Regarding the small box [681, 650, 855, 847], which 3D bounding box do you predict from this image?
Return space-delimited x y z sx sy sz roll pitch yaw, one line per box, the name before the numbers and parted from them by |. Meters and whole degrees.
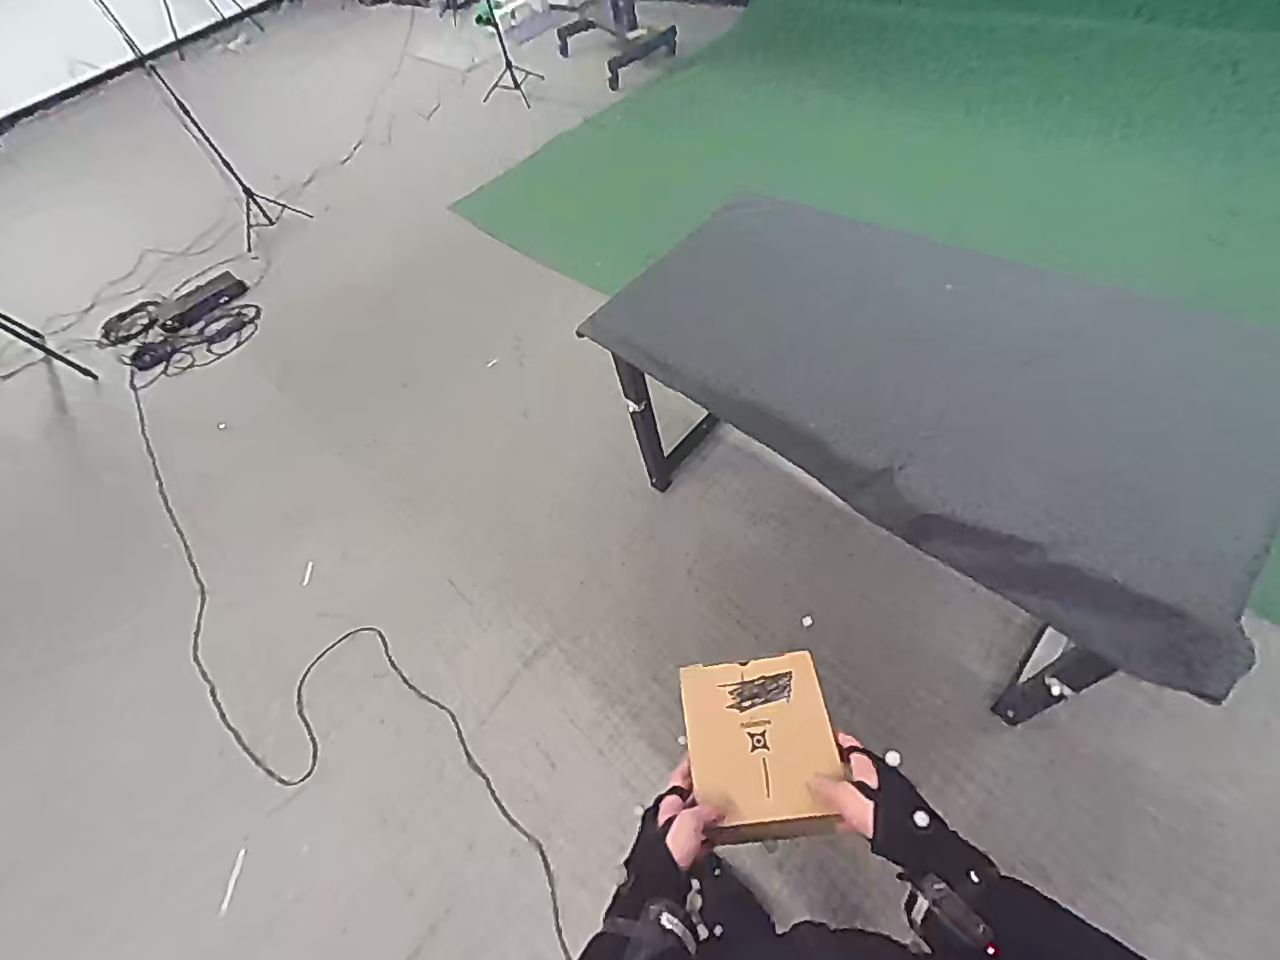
small box | 0.145 0.332 0.664 0.168 0.176 0.179 -9 50 5
